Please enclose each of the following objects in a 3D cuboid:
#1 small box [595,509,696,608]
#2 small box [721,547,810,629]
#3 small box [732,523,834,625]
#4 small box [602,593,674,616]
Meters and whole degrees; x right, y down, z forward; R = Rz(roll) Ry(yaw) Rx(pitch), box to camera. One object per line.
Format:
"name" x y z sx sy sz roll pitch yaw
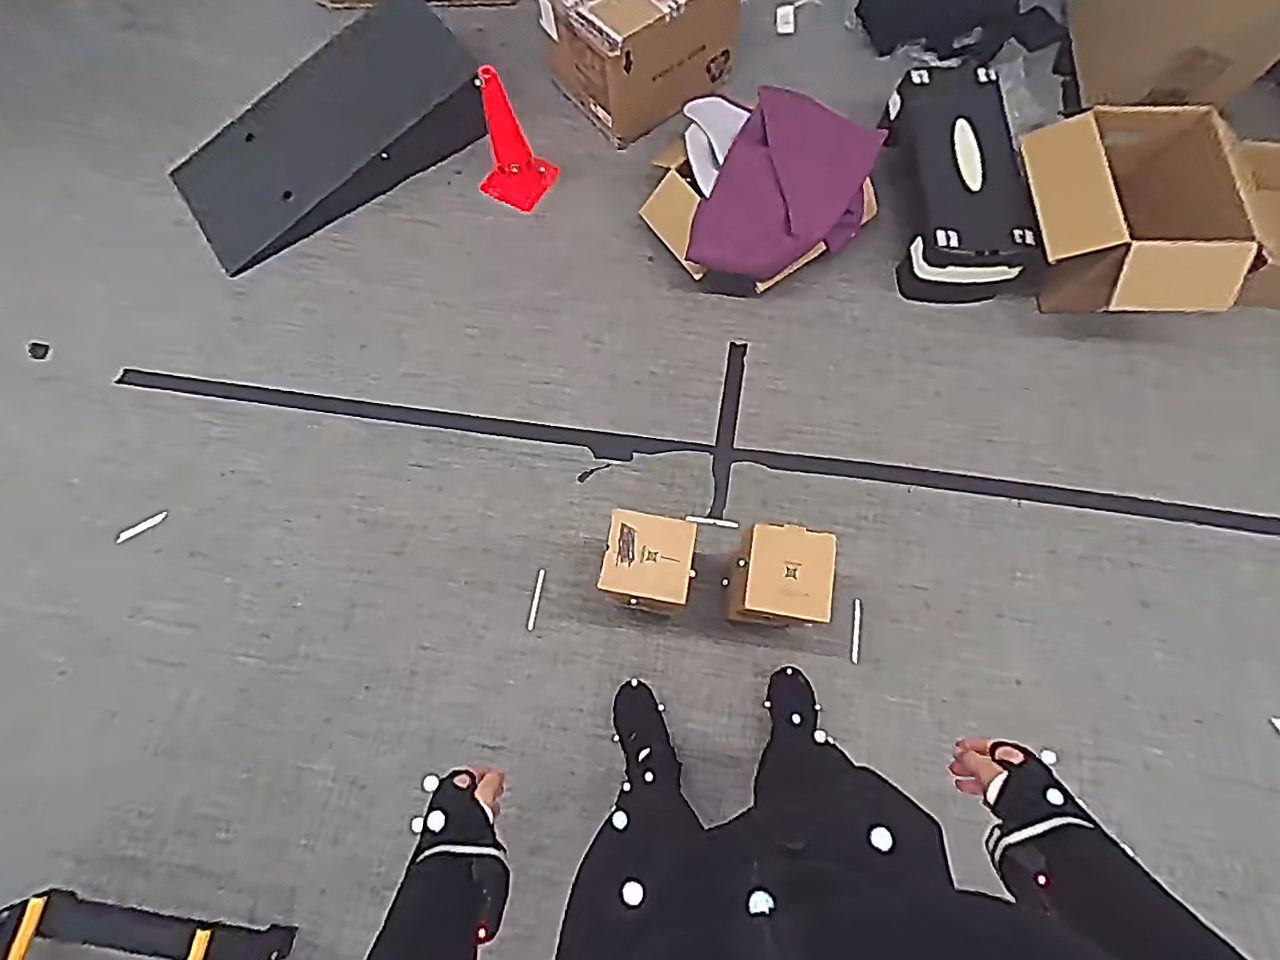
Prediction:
"small box" 0.013 0.171 1.138 0.179 0.176 0.168 10 74 4
"small box" 0.297 0.258 1.281 0.179 0.176 0.168 7 74 3
"small box" 0.292 0.201 1.129 0.168 0.176 0.179 9 76 4
"small box" 0.013 0.224 1.296 0.168 0.176 0.179 10 75 4
